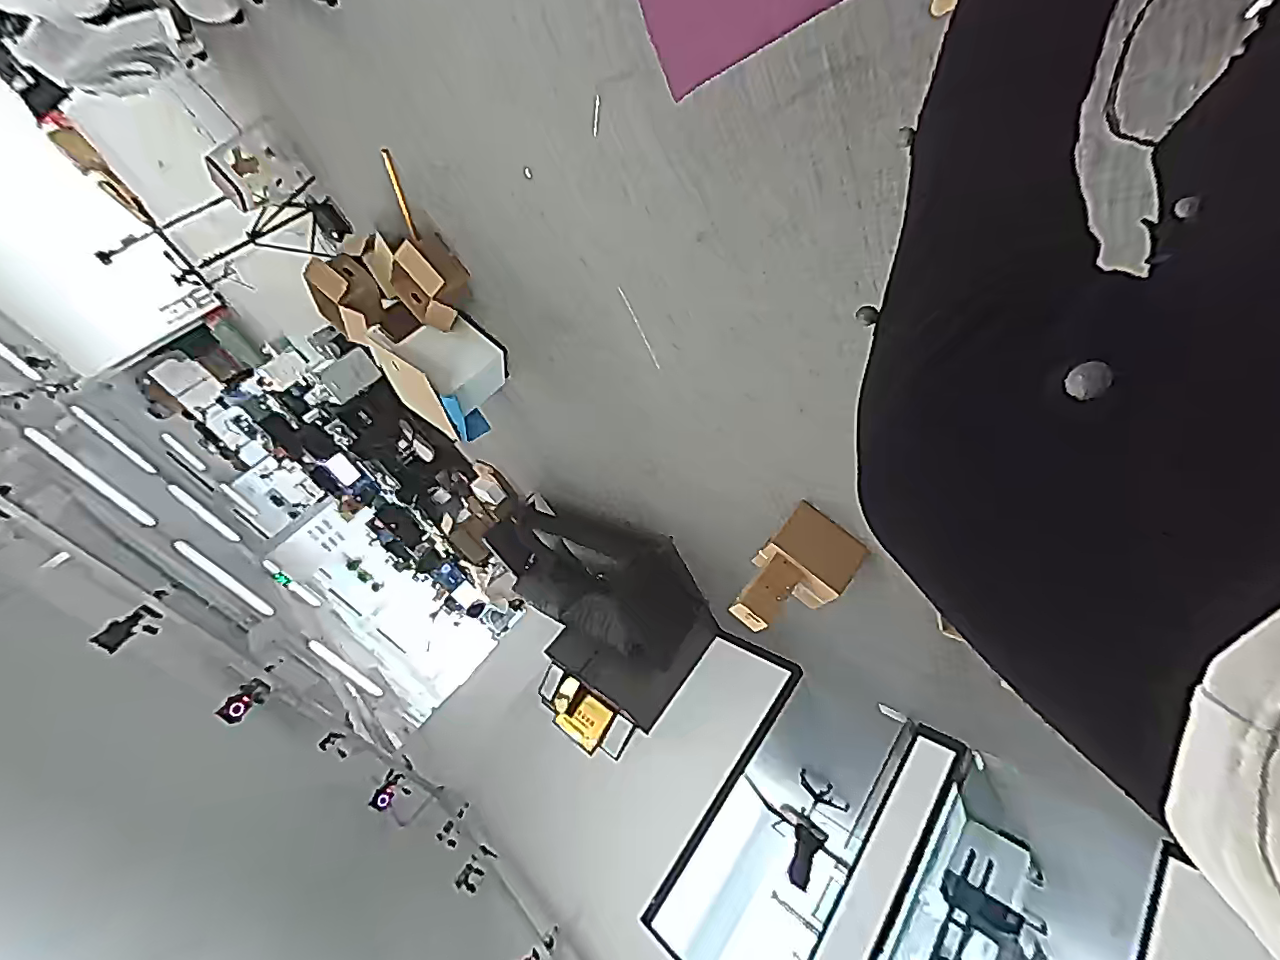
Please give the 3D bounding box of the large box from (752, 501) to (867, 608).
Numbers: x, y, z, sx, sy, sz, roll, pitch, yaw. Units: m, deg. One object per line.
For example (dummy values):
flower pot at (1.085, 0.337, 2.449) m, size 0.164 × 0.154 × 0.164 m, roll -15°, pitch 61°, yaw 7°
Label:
large box at (0.857, 0.382, 2.760) m, size 0.408 × 0.320 × 0.320 m, roll 38°, pitch 156°, yaw 9°

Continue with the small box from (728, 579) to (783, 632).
small box at (0.551, 0.592, 2.568) m, size 0.168 × 0.176 × 0.179 m, roll 39°, pitch 156°, yaw 8°
